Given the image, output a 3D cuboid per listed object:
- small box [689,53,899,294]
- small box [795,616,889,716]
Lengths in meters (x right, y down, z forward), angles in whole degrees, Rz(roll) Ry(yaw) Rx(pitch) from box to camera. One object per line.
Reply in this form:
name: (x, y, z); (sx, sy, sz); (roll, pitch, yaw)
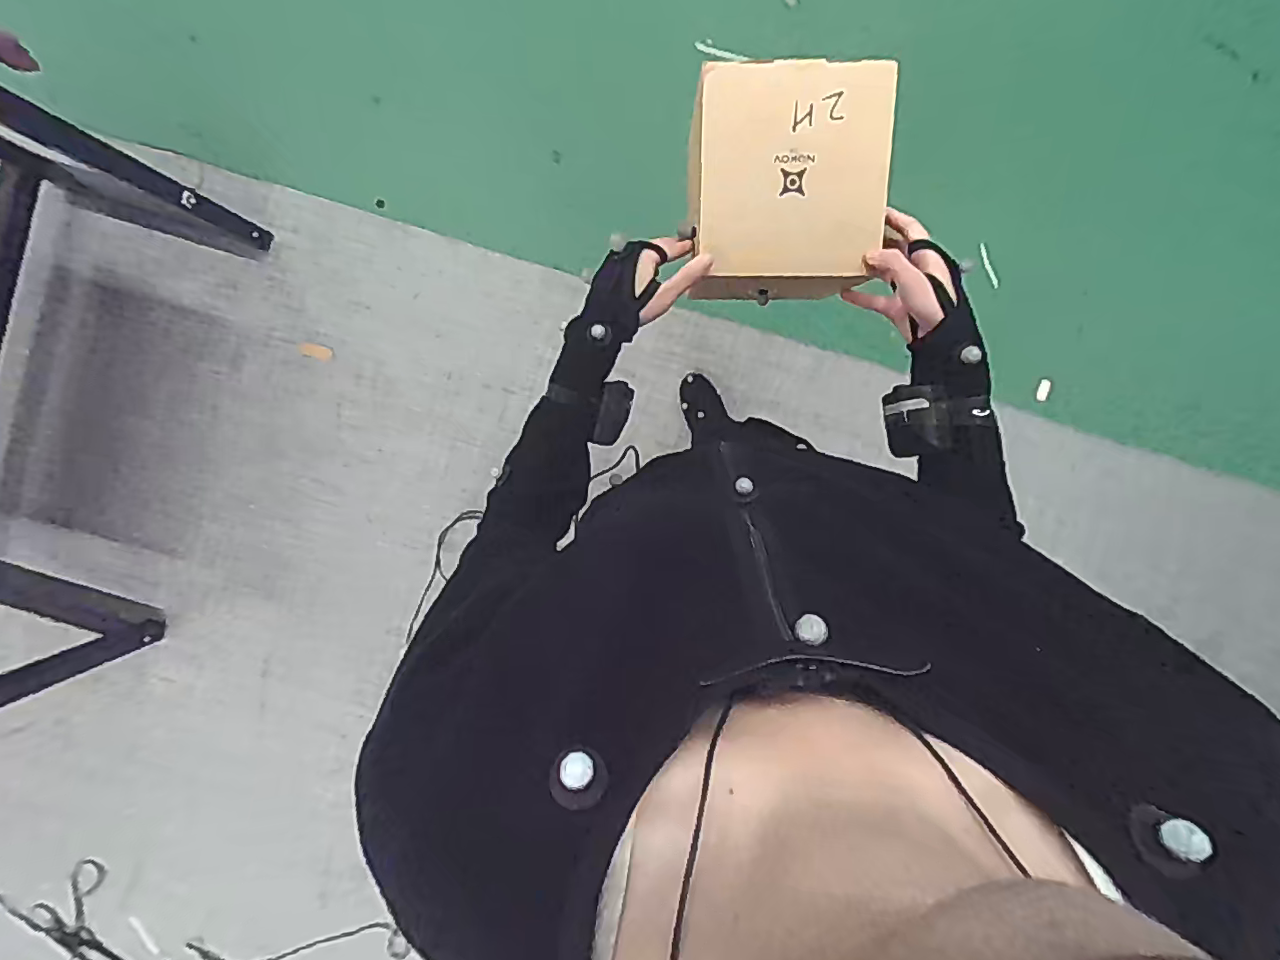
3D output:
small box: (0.139, -0.290, 0.551); (0.168, 0.176, 0.179); (0, 100, 1)
small box: (0.513, 0.472, 1.399); (0.168, 0.176, 0.179); (12, 96, 2)
